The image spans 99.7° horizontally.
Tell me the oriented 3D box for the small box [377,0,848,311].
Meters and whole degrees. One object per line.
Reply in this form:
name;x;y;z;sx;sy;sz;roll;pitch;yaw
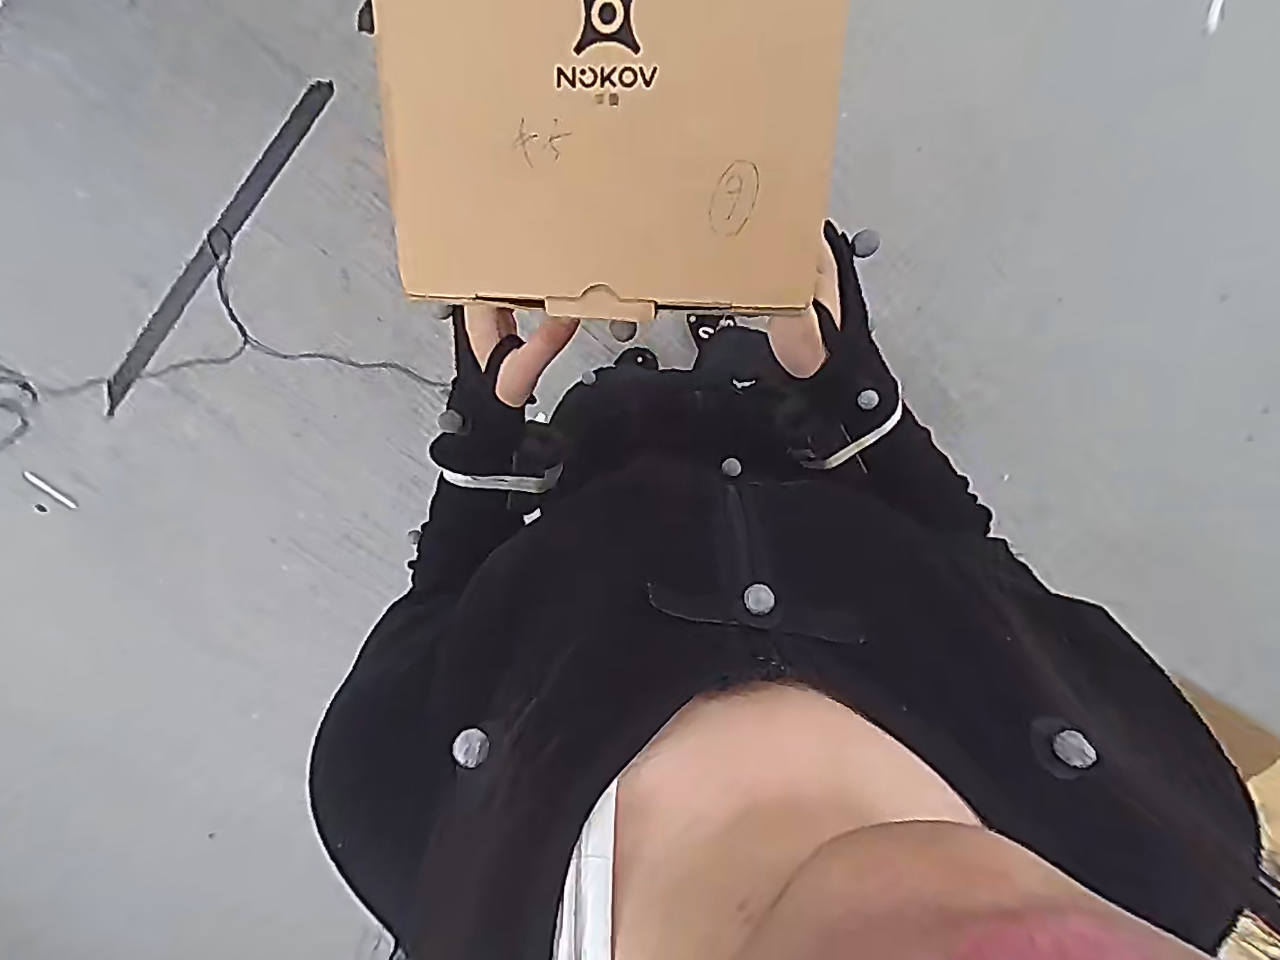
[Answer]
small box;-0.004;-0.179;0.264;0.168;0.176;0.179;4;108;4
